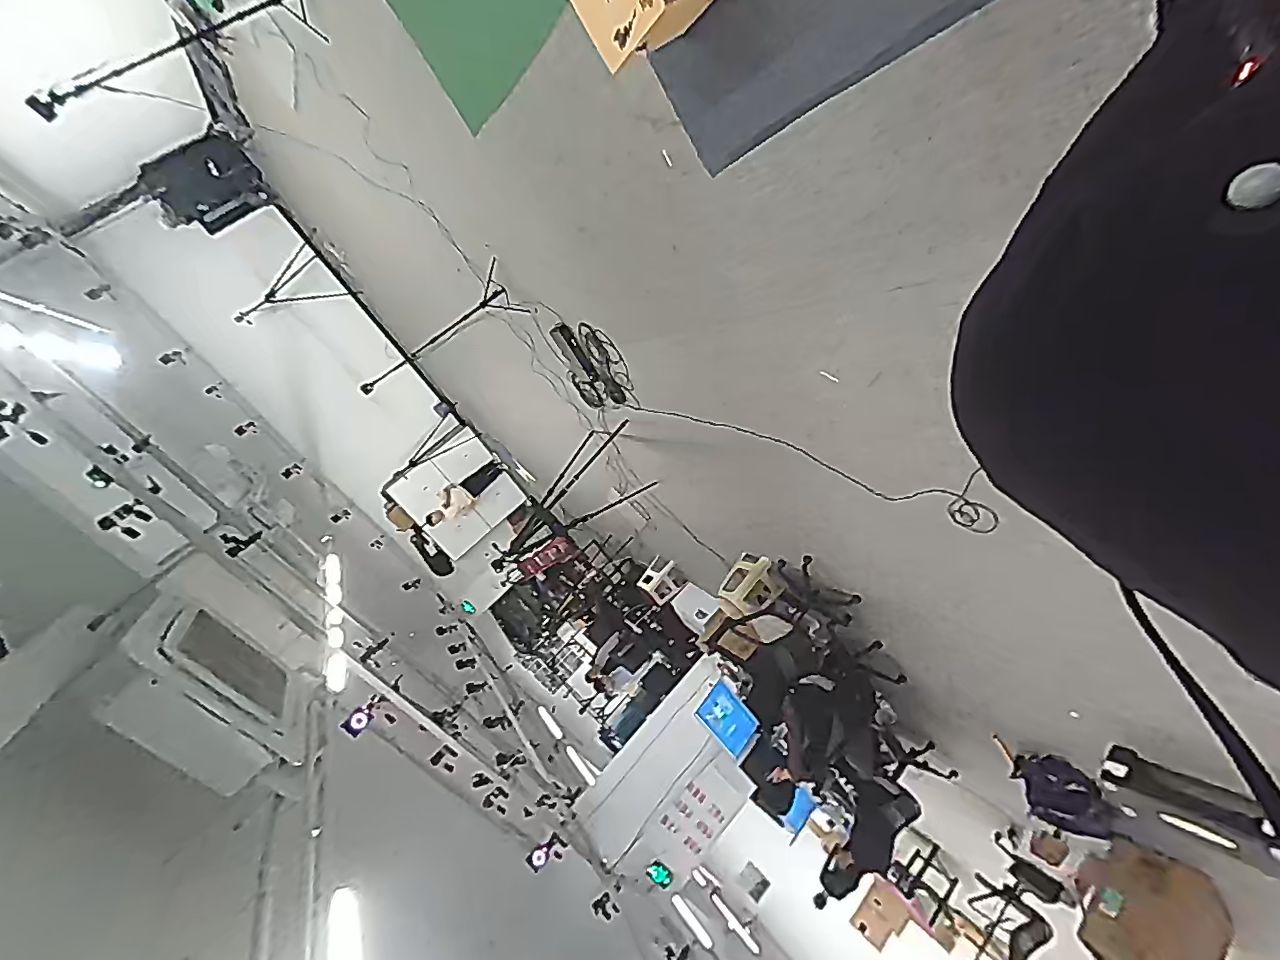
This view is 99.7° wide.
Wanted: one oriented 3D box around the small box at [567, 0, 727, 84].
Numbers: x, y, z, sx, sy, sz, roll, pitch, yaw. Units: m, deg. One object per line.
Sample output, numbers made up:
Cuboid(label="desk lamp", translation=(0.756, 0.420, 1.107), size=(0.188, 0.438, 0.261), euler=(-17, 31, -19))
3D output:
Cuboid(label="small box", translation=(0.008, -0.741, 0.789), size=(0.179, 0.176, 0.168), euler=(55, 160, -22))
